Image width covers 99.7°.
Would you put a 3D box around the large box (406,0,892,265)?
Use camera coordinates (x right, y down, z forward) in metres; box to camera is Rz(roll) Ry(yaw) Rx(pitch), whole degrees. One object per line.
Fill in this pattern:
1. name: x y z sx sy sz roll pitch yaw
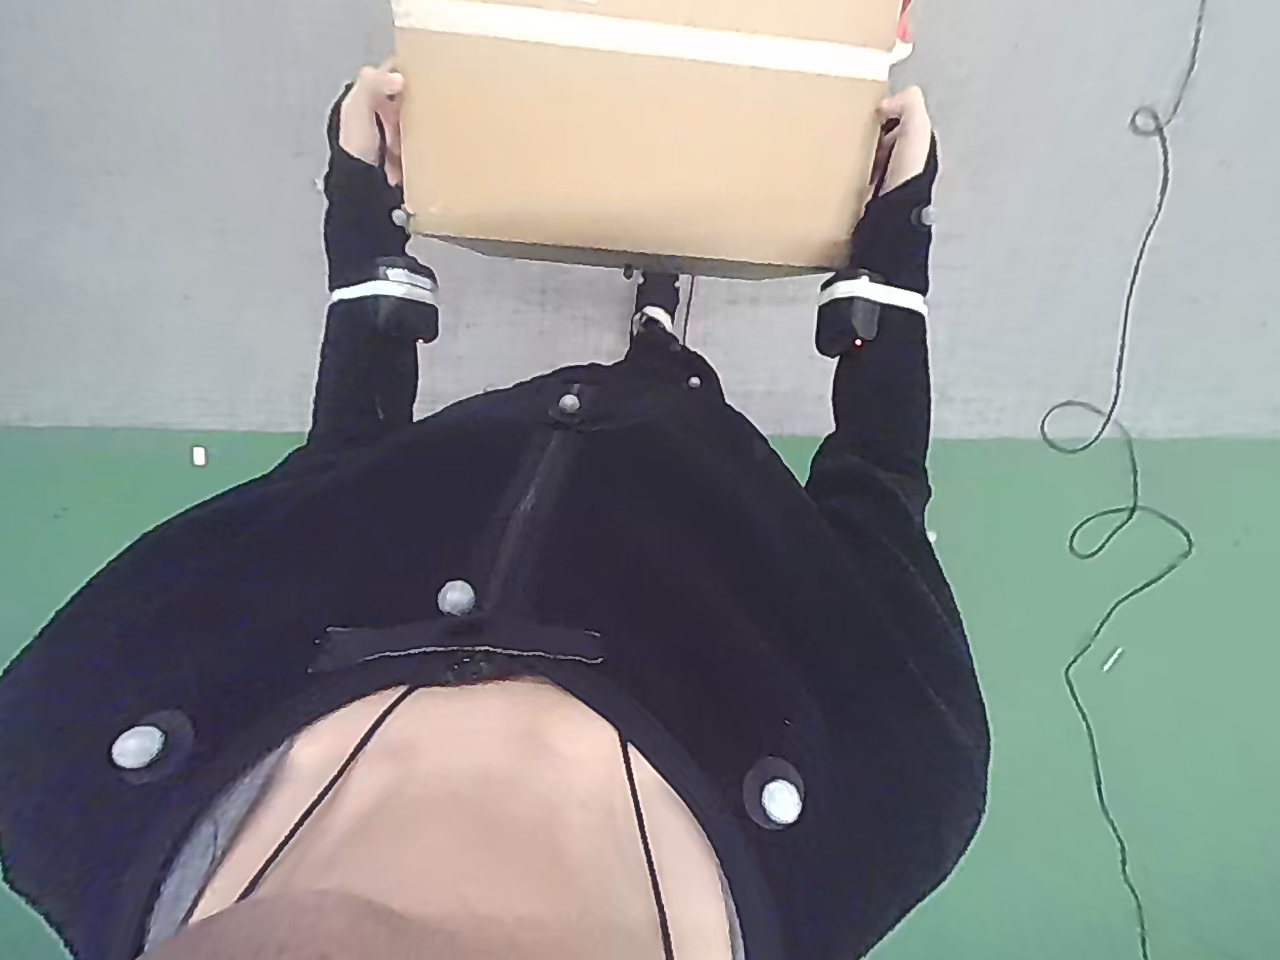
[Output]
1. large box: 0.003 -0.412 0.590 0.408 0.320 0.320 3 108 -4
